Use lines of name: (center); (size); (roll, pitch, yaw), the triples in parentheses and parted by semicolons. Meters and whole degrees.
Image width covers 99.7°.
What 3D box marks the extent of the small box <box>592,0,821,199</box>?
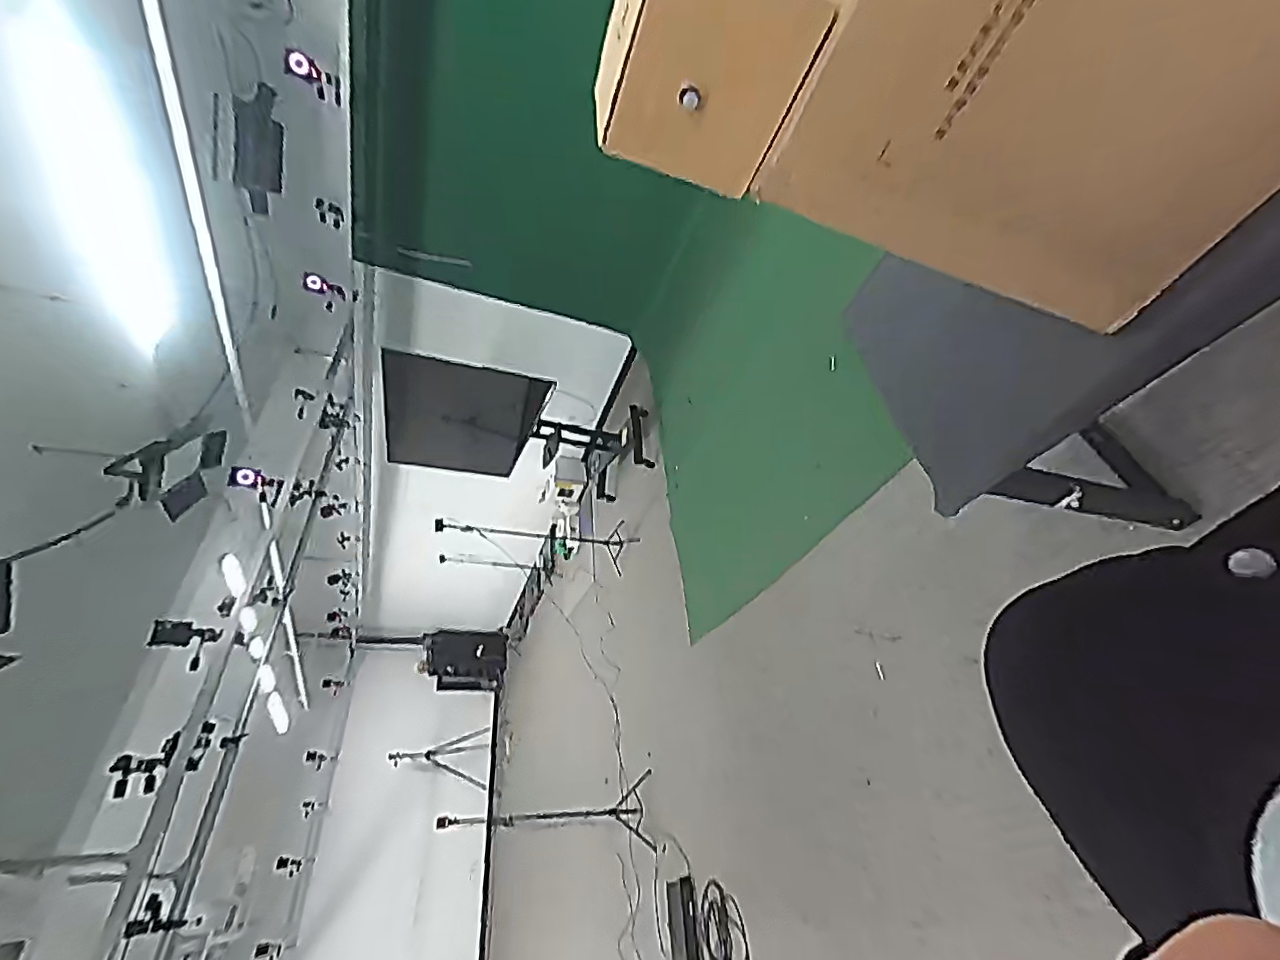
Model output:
small box: (0.056, -0.431, 0.567); (0.179, 0.176, 0.168); (120, 149, -47)
